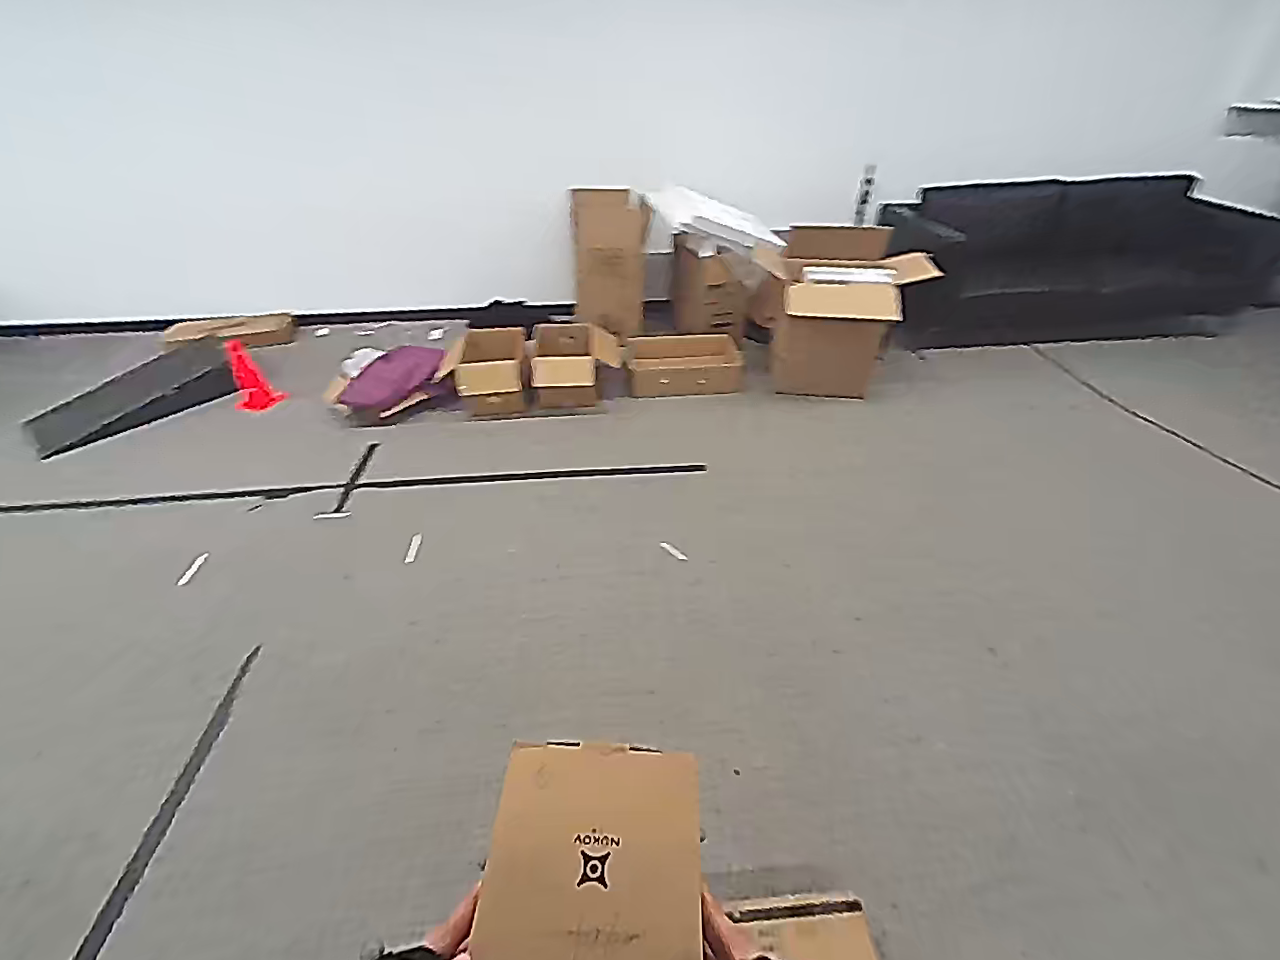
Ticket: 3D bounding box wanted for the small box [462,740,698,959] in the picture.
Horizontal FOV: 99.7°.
[{"bbox_3d":[-0.043,0.353,0.468,0.168,0.176,0.179,4,43,0],"label":"small box"}]
